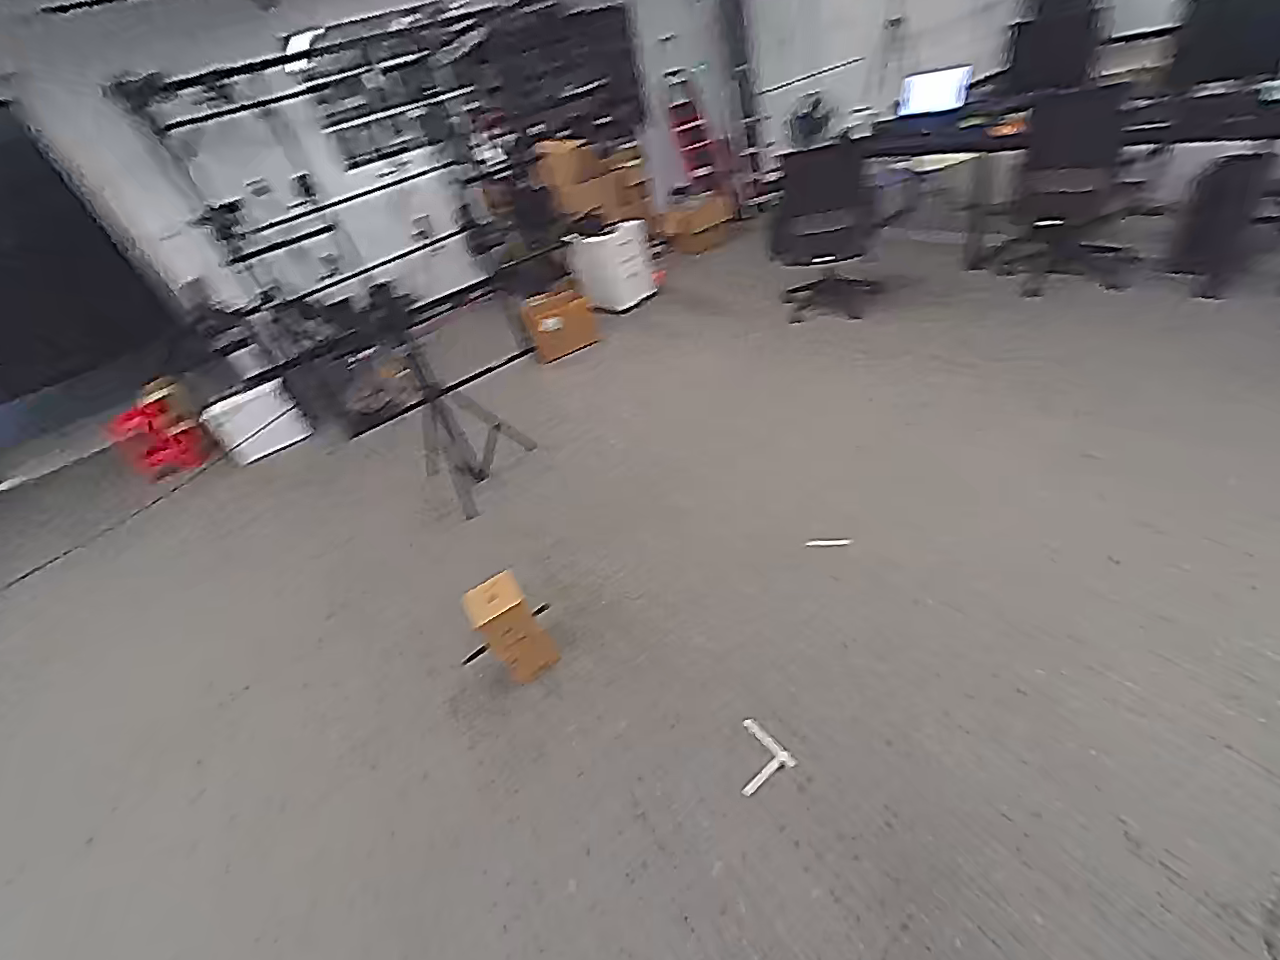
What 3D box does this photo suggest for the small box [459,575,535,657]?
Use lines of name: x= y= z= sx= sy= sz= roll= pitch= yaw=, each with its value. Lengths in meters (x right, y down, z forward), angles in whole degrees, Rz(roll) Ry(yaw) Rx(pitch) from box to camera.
small box: x=-0.469 y=0.454 z=1.783 sx=0.168 sy=0.176 sz=0.179 roll=-29 pitch=37 yaw=-16
